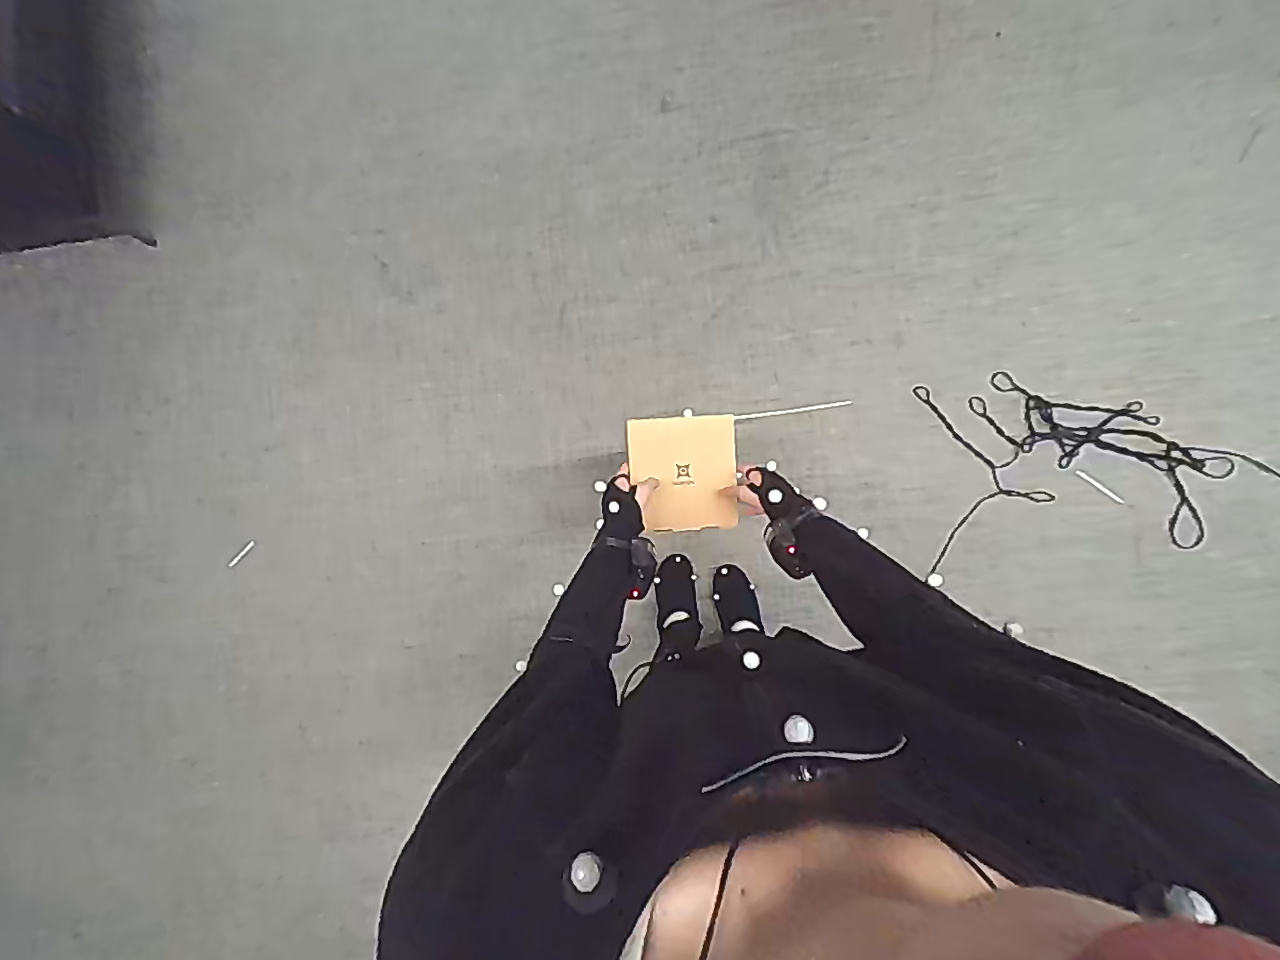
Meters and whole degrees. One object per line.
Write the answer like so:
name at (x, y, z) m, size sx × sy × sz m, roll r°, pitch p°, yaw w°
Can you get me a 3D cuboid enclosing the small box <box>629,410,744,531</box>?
small box at (0.069, -0.019, 0.889) m, size 0.168 × 0.176 × 0.179 m, roll -4°, pitch 94°, yaw -1°
